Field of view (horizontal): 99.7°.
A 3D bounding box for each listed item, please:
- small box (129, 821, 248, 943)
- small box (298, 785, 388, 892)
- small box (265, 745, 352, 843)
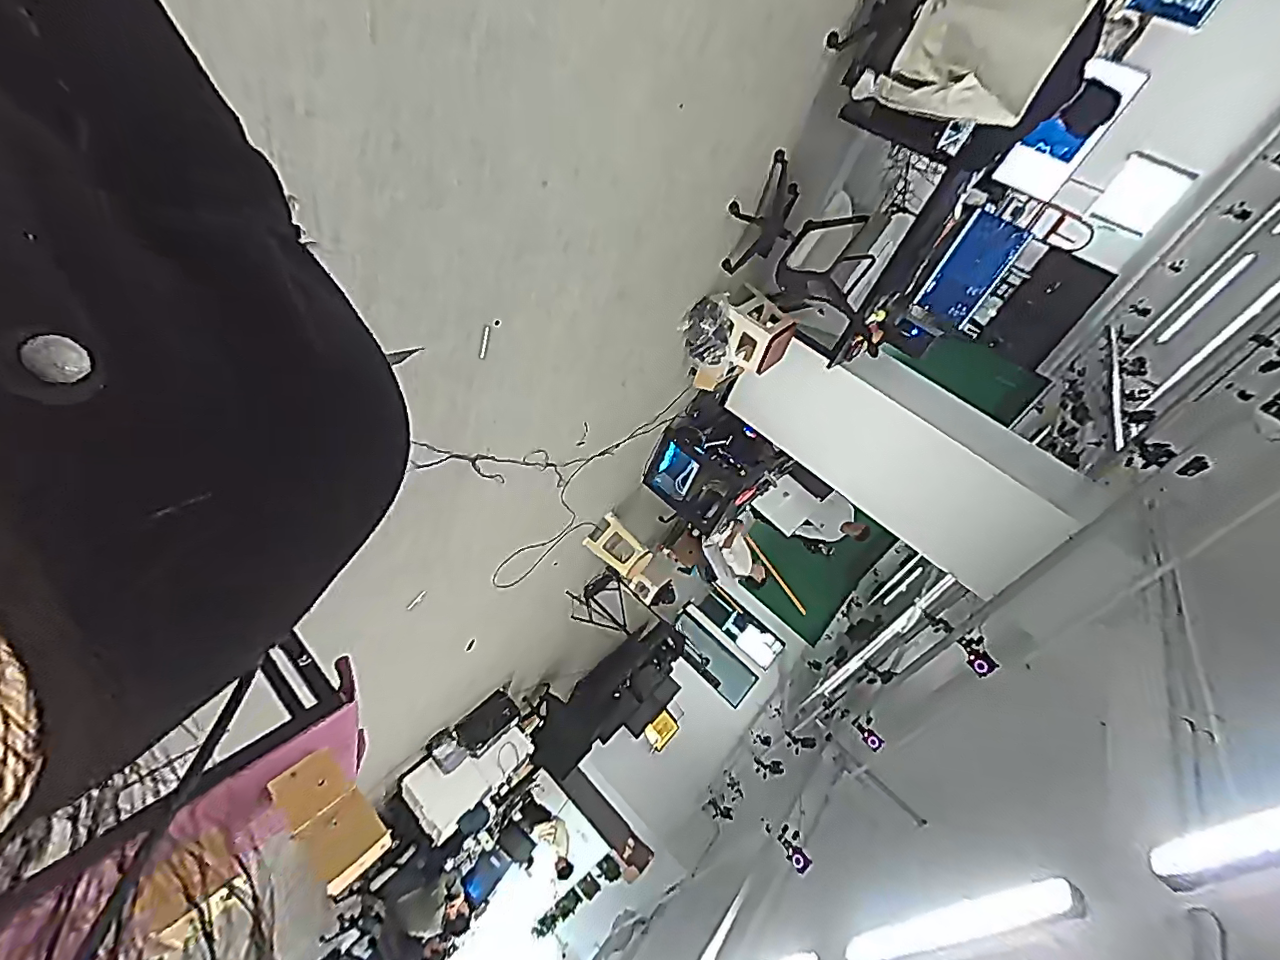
[{"bbox_3d":[-1.155,1.027,1.391,0.179,0.176,0.168,-29,153,-43],"label":"small box"},{"bbox_3d":[-0.855,1.027,1.554,0.179,0.176,0.168,-31,155,-40],"label":"small box"},{"bbox_3d":[-0.974,0.923,1.598,0.168,0.176,0.179,-31,155,-42],"label":"small box"}]
